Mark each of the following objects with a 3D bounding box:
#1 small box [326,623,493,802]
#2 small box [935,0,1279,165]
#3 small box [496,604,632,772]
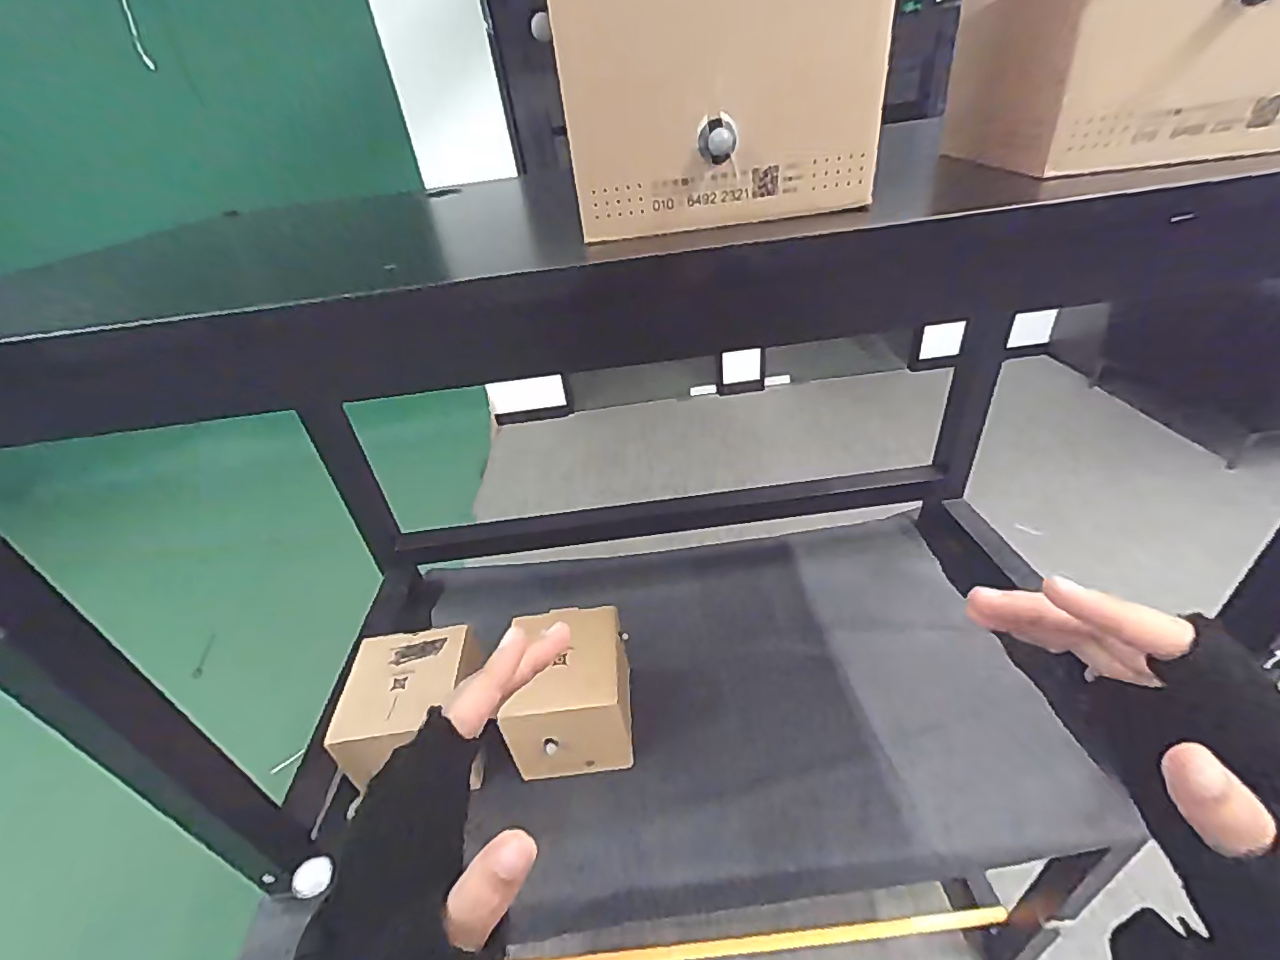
[{"bbox_3d":[-0.330,0.348,0.818,0.168,0.176,0.179,-9,34,-1],"label":"small box"},{"bbox_3d":[0.307,-0.300,0.331,0.168,0.176,0.179,-2,34,8],"label":"small box"},{"bbox_3d":[-0.105,0.318,0.821,0.168,0.176,0.179,-7,33,1],"label":"small box"}]
